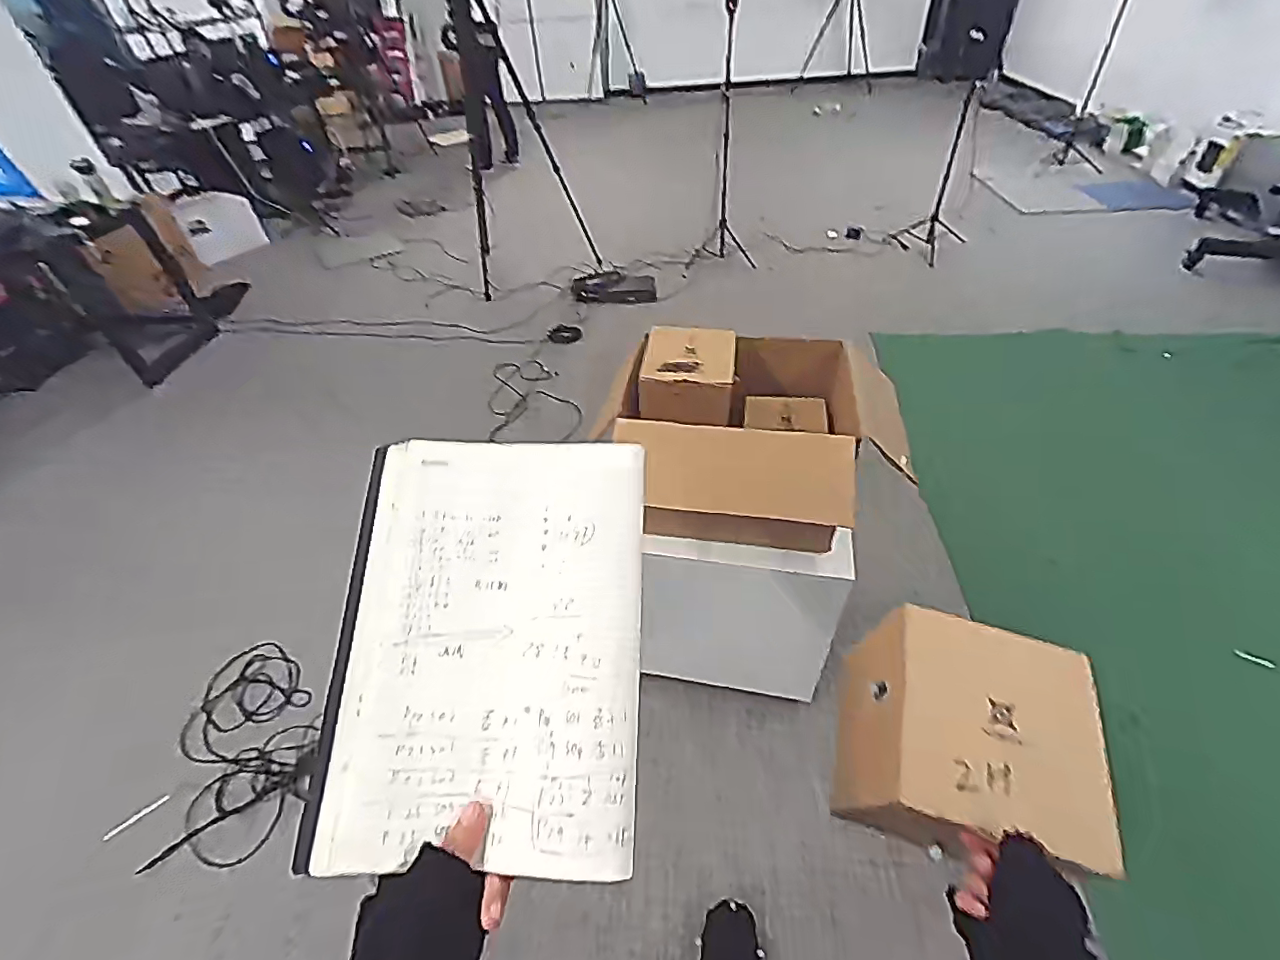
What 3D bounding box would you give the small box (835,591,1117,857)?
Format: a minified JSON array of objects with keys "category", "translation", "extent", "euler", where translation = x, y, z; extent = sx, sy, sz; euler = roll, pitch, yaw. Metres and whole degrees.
[{"category":"small box","translation":[0.302,0.239,0.528],"extent":[0.168,0.176,0.179],"euler":[15,57,8]}]
